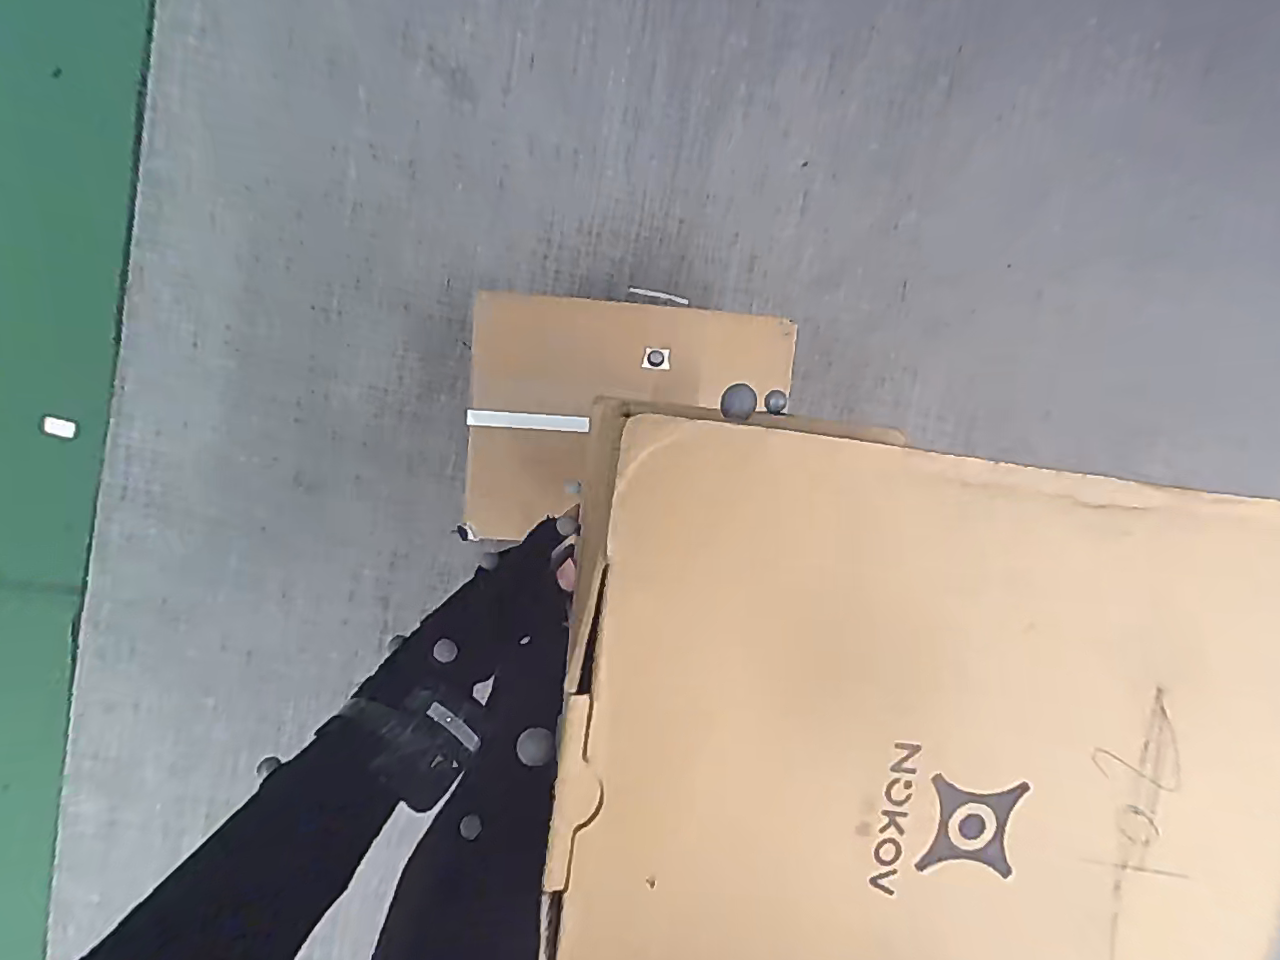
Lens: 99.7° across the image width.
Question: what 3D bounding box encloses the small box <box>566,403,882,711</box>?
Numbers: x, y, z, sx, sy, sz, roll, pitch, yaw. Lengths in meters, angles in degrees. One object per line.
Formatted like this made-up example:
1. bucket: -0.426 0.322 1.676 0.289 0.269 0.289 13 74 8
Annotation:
1. small box: 0.043 0.045 0.379 0.168 0.176 0.179 5 95 -5

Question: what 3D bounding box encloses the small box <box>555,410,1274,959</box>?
1. small box: 0.065 0.066 0.219 0.179 0.176 0.168 6 95 -7
